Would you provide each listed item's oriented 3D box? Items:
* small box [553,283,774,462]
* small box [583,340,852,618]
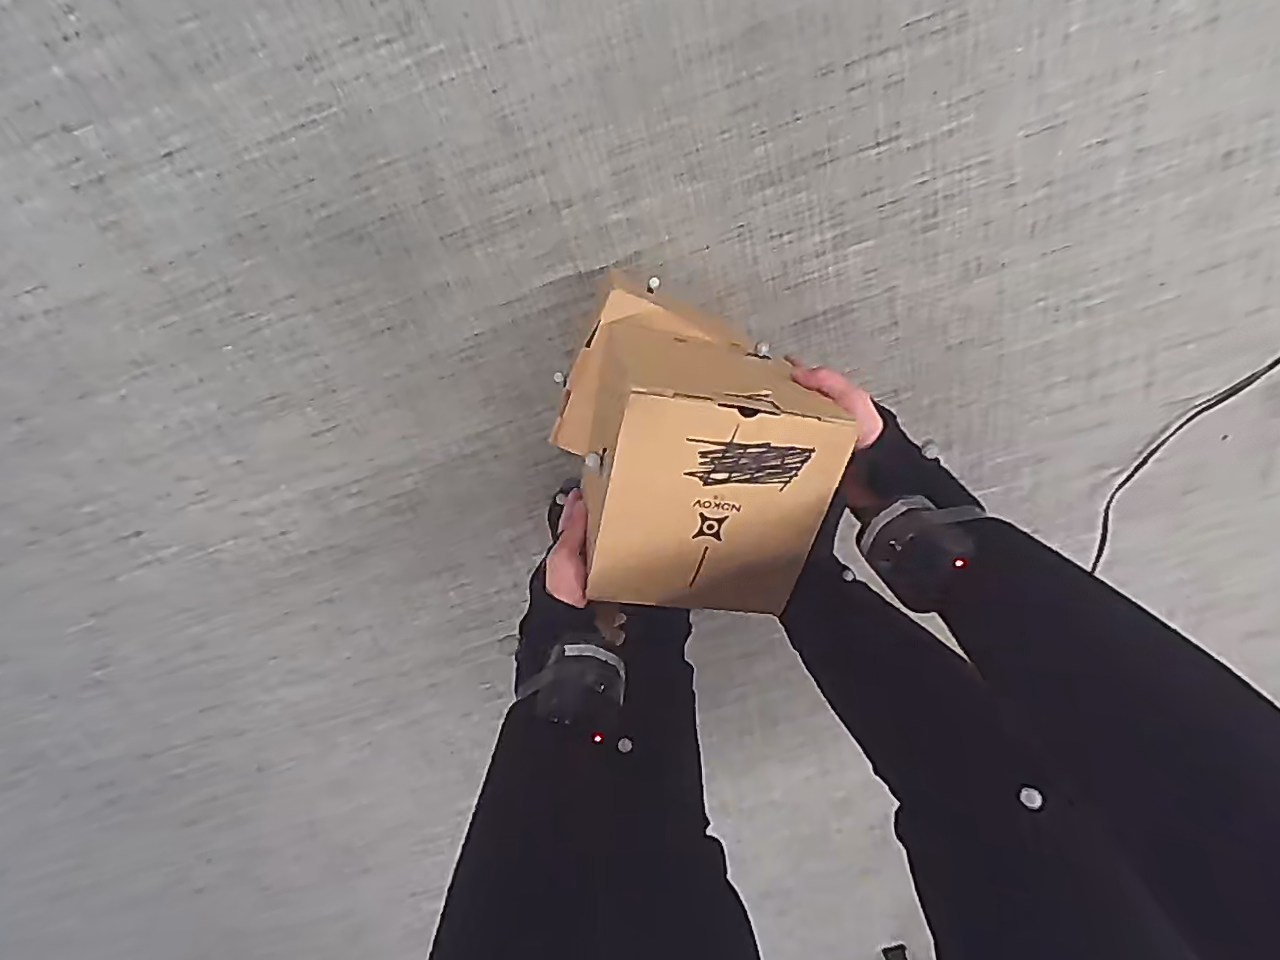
[{"bbox_3d":[0.015,-0.107,0.606,0.179,0.176,0.168,18,115,-15],"label":"small box"},{"bbox_3d":[0.044,-0.008,0.467,0.168,0.176,0.179,7,119,-11],"label":"small box"}]
